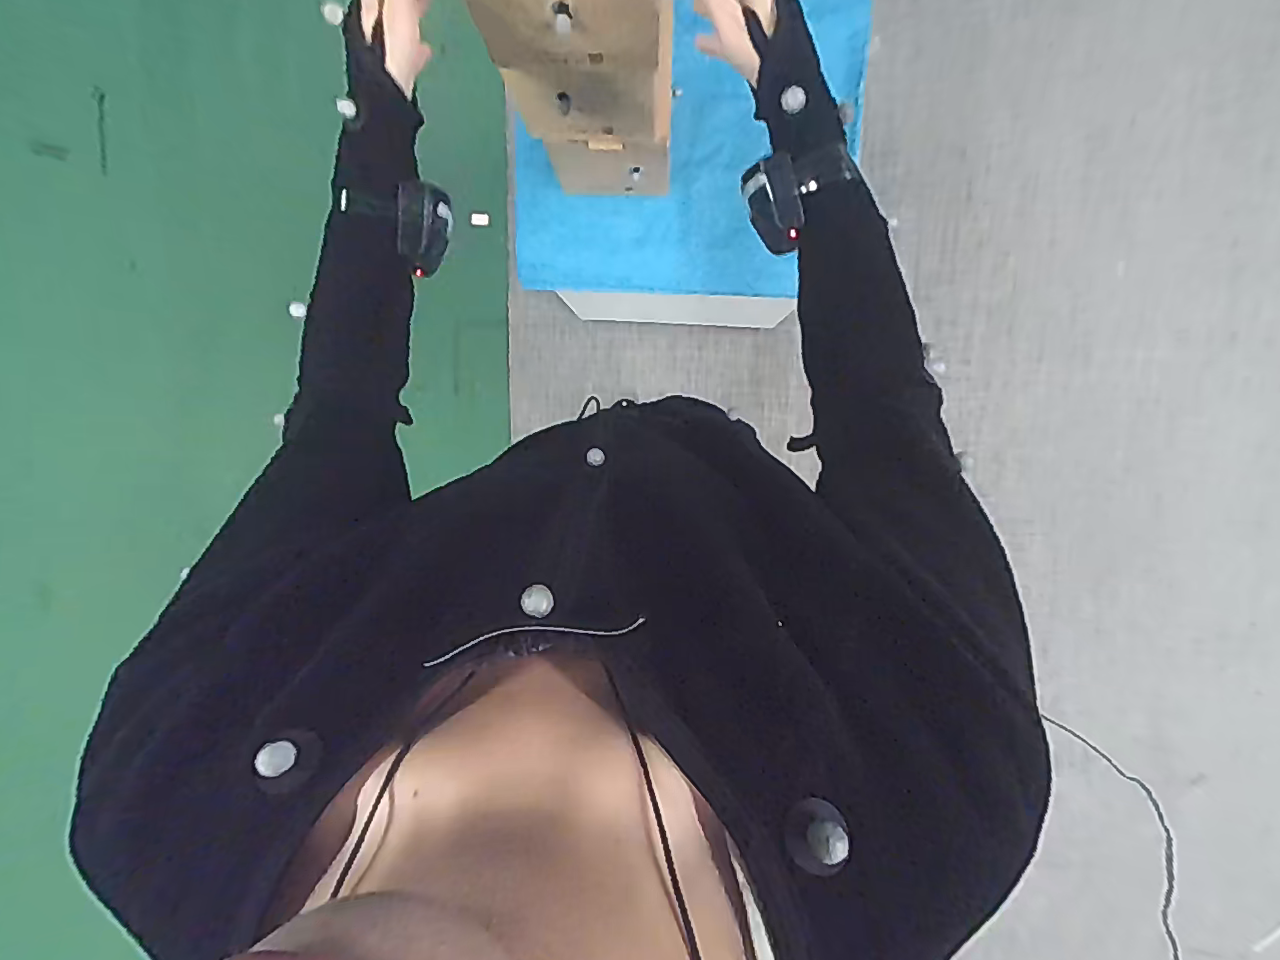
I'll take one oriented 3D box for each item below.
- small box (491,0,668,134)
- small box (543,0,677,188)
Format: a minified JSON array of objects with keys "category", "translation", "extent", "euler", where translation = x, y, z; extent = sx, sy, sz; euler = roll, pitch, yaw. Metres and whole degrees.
[{"category":"small box","translation":[-0.055,-0.514,0.596],"extent":[0.168,0.176,0.179],"euler":[4,96,2]},{"category":"small box","translation":[-0.035,-0.532,0.756],"extent":[0.168,0.176,0.179],"euler":[3,96,2]}]
